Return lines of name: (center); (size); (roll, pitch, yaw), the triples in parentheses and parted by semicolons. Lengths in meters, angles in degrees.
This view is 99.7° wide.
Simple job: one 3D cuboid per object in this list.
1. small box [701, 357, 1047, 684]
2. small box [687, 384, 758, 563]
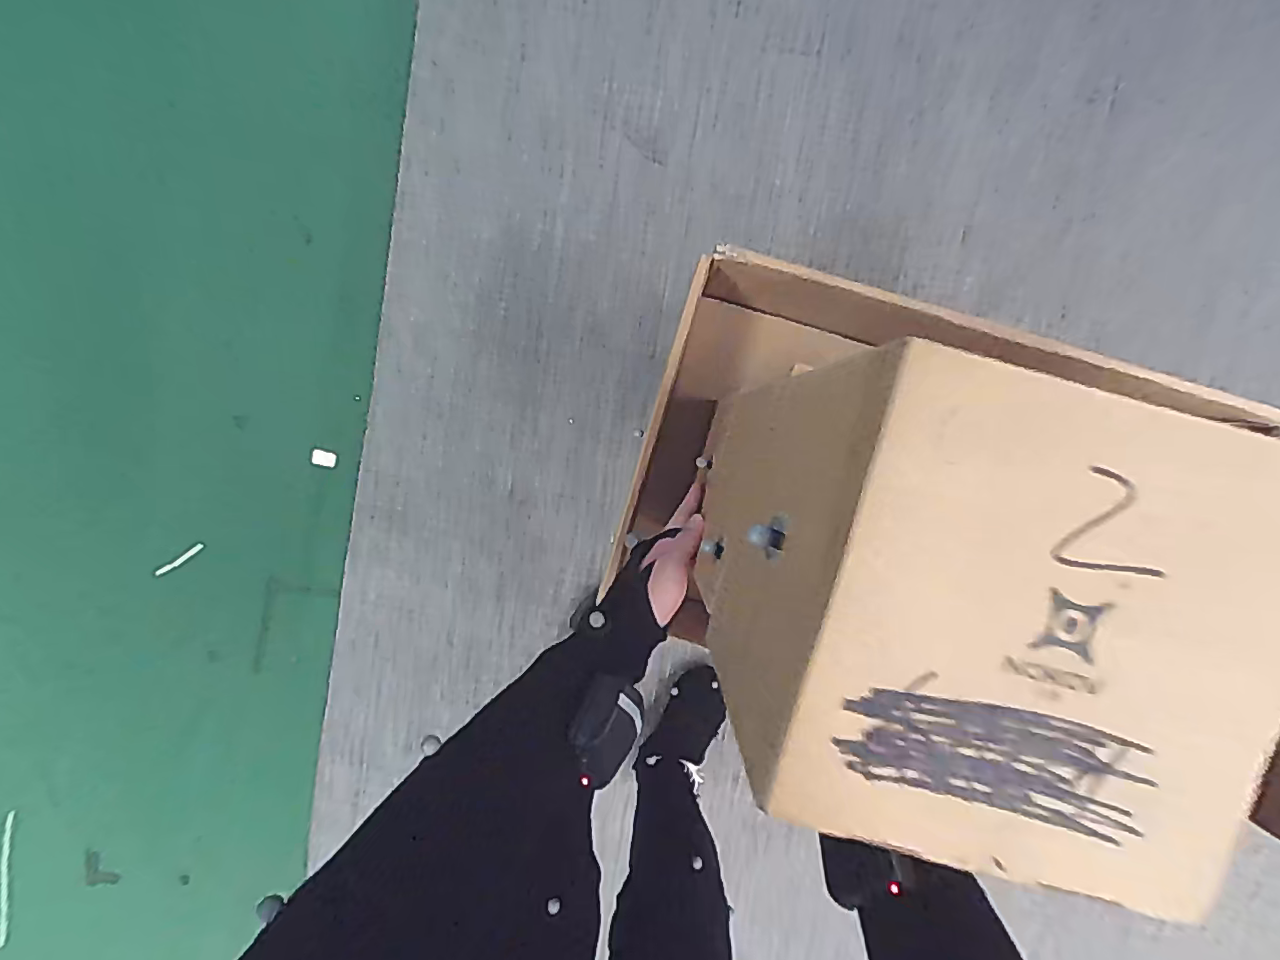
small box: (0.154, 0.021, 0.424); (0.168, 0.176, 0.179); (17, 95, -2)
small box: (0.154, 0.012, 0.584); (0.168, 0.176, 0.179); (17, 94, 0)
